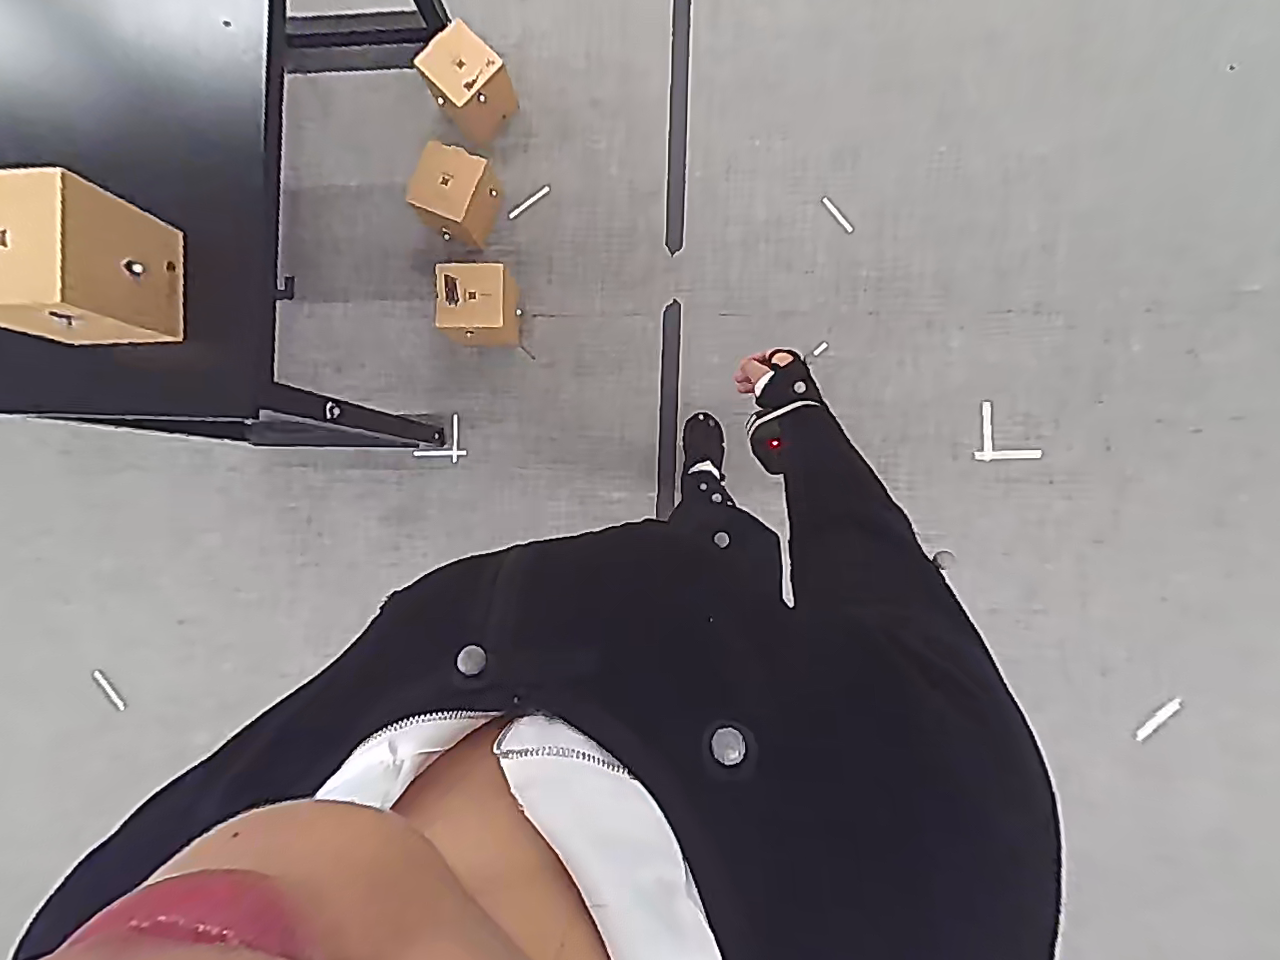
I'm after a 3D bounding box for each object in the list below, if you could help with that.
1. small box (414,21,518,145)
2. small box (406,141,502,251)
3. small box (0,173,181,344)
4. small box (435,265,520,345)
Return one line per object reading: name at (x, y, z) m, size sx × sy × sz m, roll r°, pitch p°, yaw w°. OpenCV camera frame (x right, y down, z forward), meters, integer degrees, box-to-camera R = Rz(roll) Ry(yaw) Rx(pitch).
small box at (-0.461, -1.060, 1.461) m, size 0.179 × 0.176 × 0.168 m, roll 45°, pitch 92°, yaw 3°
small box at (-0.491, -0.759, 1.461) m, size 0.168 × 0.176 × 0.179 m, roll 22°, pitch 91°, yaw 4°
small box at (-0.773, -0.288, 0.734) m, size 0.179 × 0.176 × 0.168 m, roll -1°, pitch 88°, yaw 3°
small box at (-0.431, -0.463, 1.451) m, size 0.179 × 0.176 × 0.168 m, roll 0°, pitch 89°, yaw 1°
